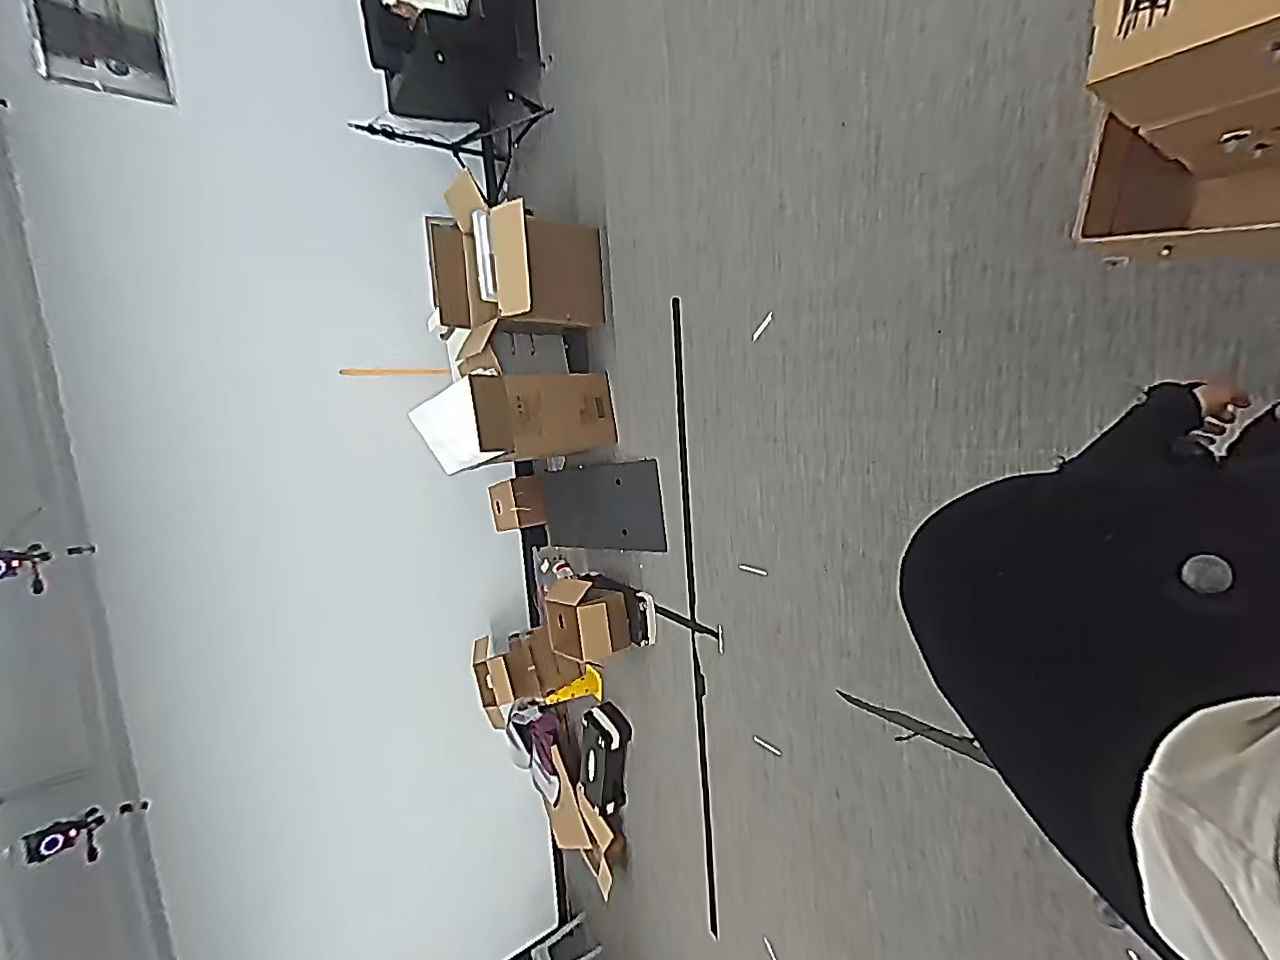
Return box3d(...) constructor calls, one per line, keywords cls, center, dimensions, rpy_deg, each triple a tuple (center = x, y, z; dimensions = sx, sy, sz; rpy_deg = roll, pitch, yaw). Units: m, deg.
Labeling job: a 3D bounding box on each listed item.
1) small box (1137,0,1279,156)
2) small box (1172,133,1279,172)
box3d(cls="small box", center=(0.727, -0.518, 0.635), dimensions=(0.168, 0.176, 0.179), rpy_deg=(13, 107, 54))
box3d(cls="small box", center=(0.865, -0.534, 0.721), dimensions=(0.179, 0.176, 0.168), rpy_deg=(17, 111, 52))
